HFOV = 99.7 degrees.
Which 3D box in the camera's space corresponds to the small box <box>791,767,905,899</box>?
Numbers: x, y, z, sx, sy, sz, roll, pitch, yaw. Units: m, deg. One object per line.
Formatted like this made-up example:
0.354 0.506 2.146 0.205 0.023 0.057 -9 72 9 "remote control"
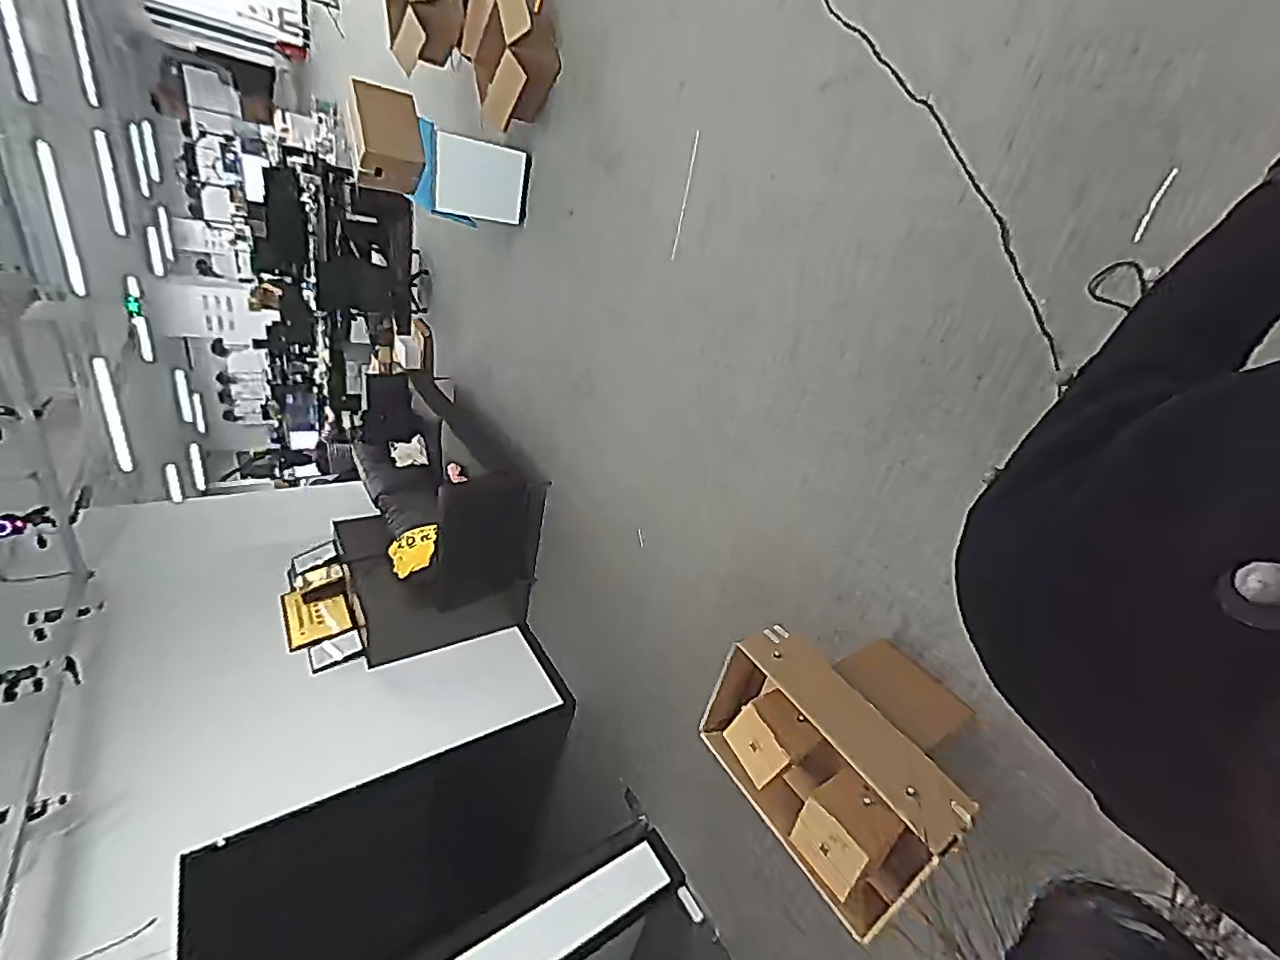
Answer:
0.498 0.836 1.296 0.168 0.176 0.179 38 126 44 "small box"
